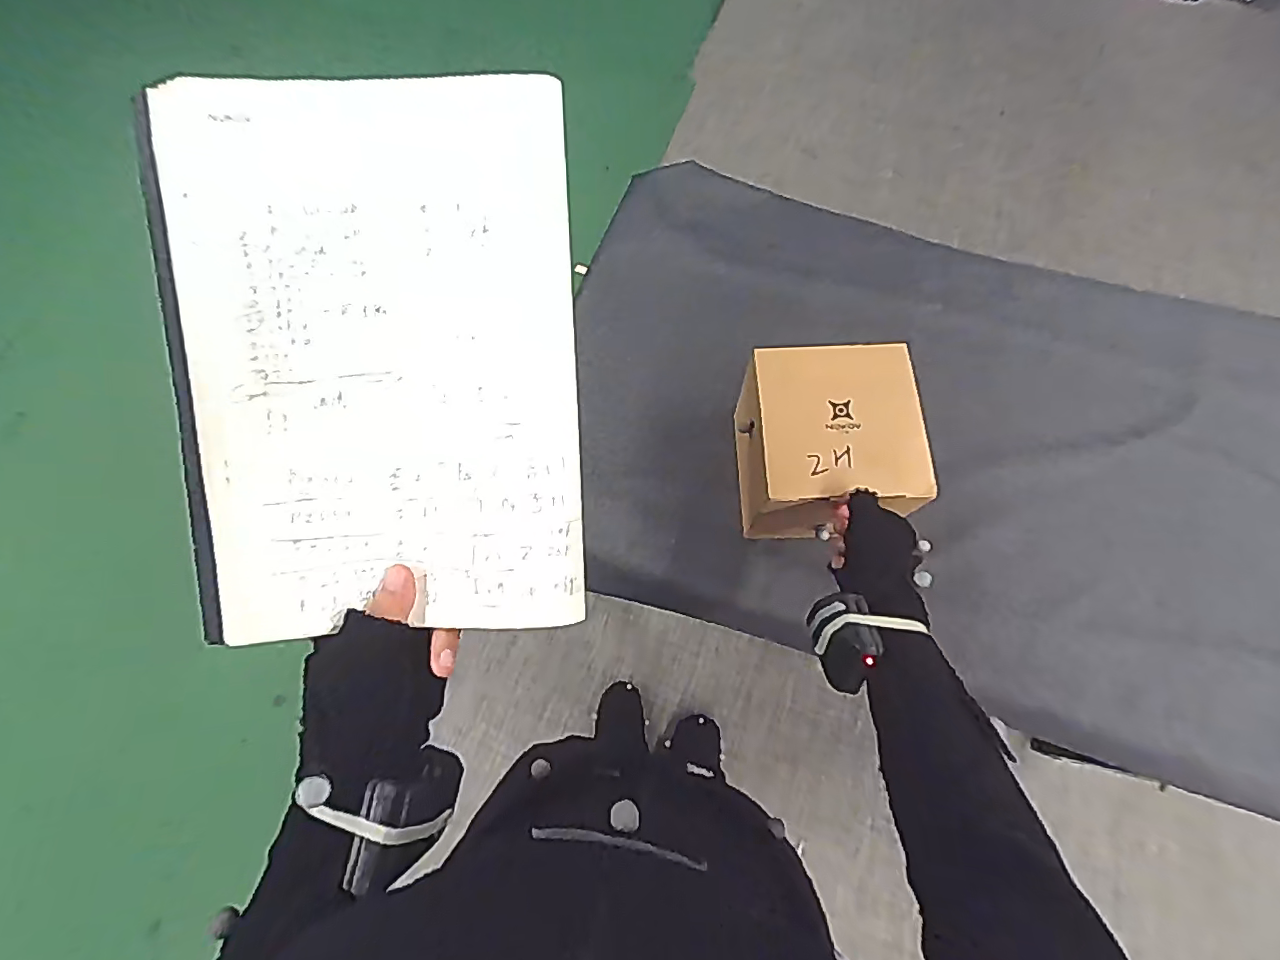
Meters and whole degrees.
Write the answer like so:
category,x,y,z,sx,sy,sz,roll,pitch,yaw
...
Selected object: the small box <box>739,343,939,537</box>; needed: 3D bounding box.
category,x,y,z,sx,sy,sz,roll,pitch,yaw
small box,0.212,-0.039,0.633,0.168,0.176,0.179,-1,70,2
